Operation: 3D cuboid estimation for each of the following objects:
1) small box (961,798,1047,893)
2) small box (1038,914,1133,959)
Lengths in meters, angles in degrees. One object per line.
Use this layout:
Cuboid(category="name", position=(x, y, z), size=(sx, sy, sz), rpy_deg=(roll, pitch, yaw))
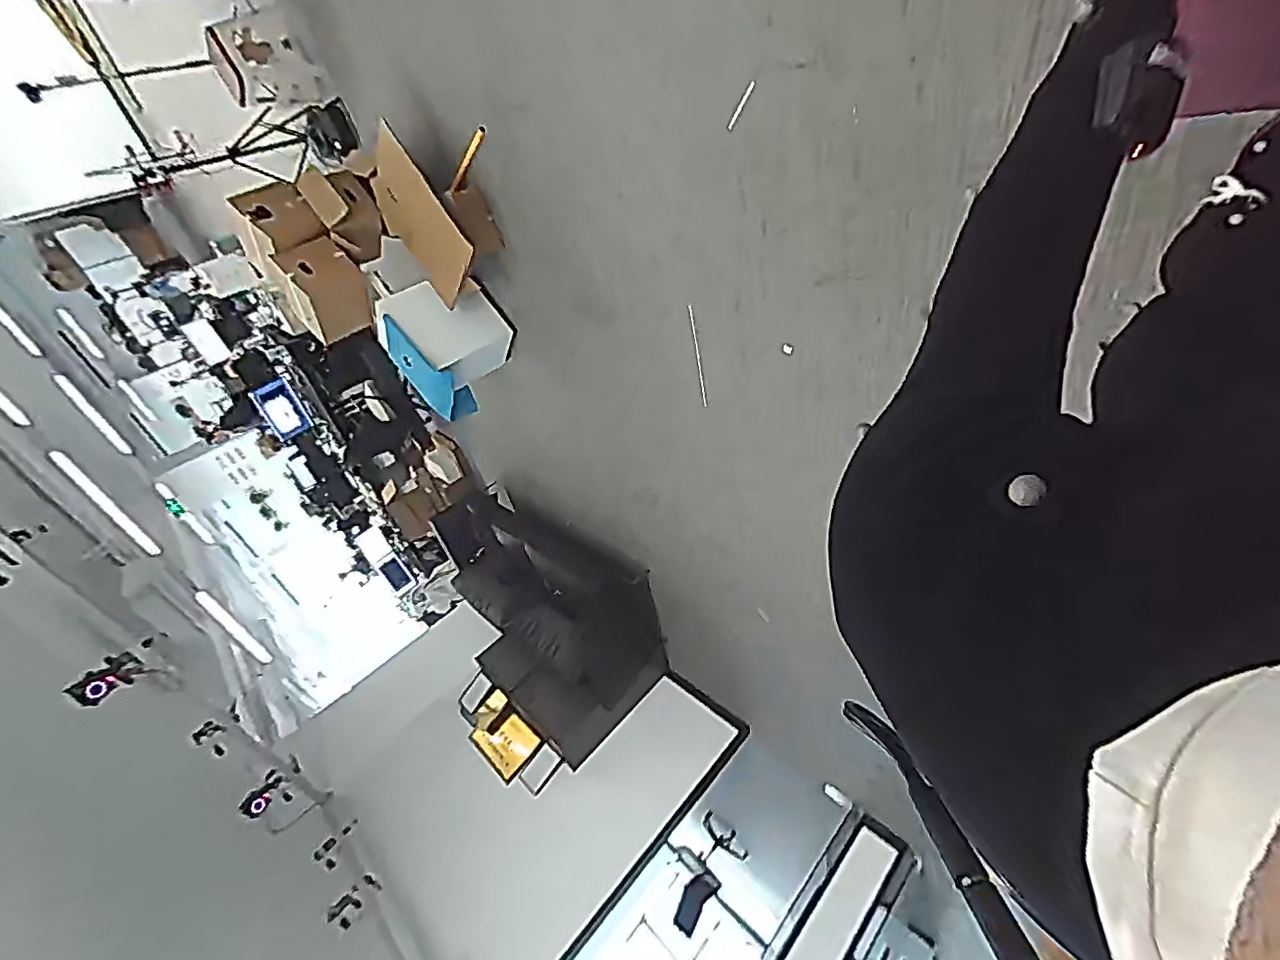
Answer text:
Cuboid(category="small box", position=(1.190, 1.190, 1.765), size=(0.168, 0.176, 0.179), rpy_deg=(29, 142, 36))
Cuboid(category="small box", position=(1.263, 1.394, 1.538), size=(0.168, 0.176, 0.179), rpy_deg=(28, 142, 37))
